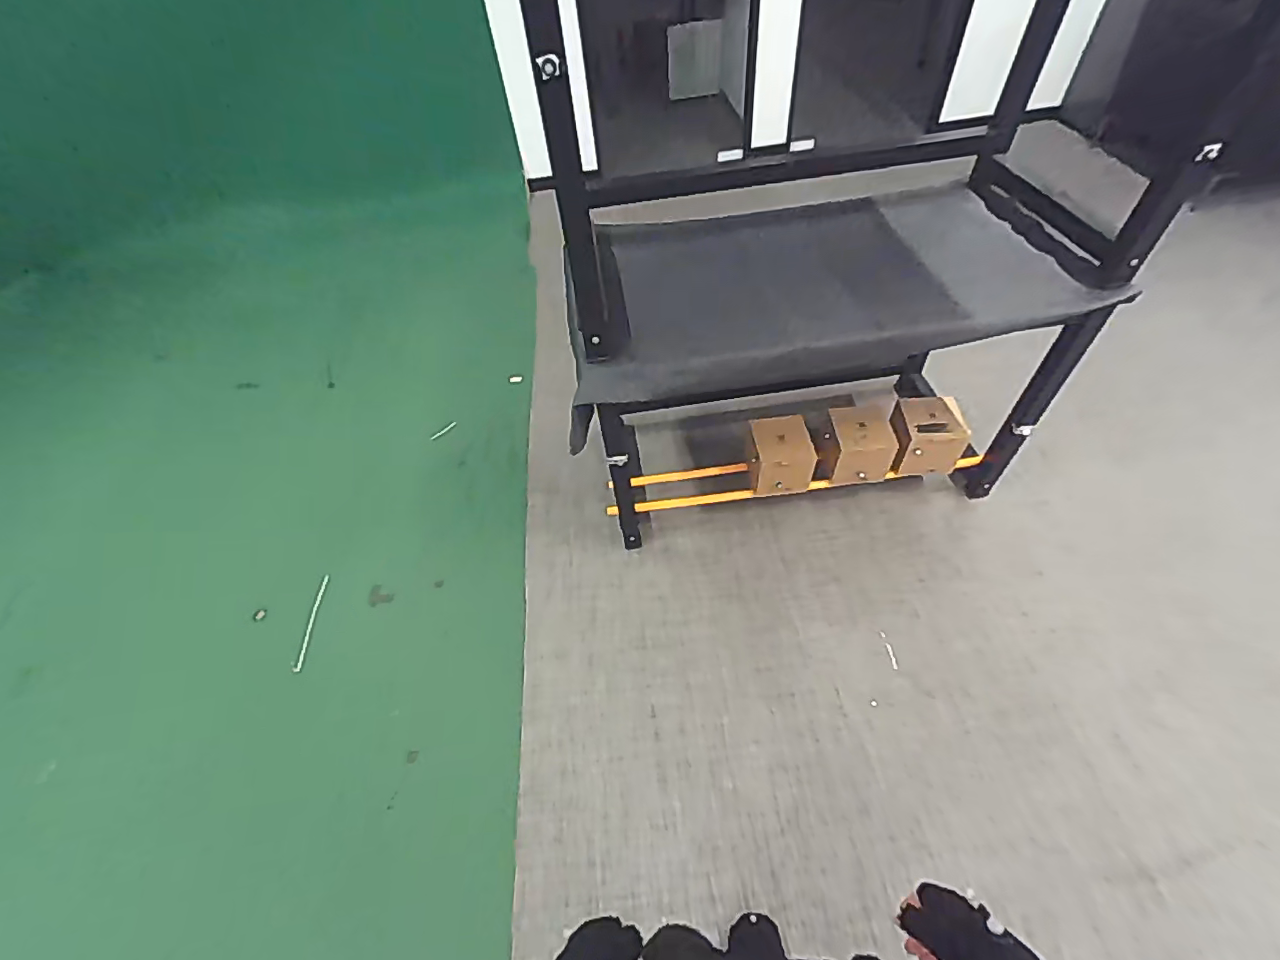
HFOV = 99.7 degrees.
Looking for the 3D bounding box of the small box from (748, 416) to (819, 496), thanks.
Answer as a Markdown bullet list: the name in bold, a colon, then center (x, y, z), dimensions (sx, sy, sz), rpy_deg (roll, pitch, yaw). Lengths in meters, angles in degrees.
- **small box**: center (0.433, -0.072, 1.665), dimensions (0.168, 0.176, 0.179), rpy_deg (-6, 53, 1)
